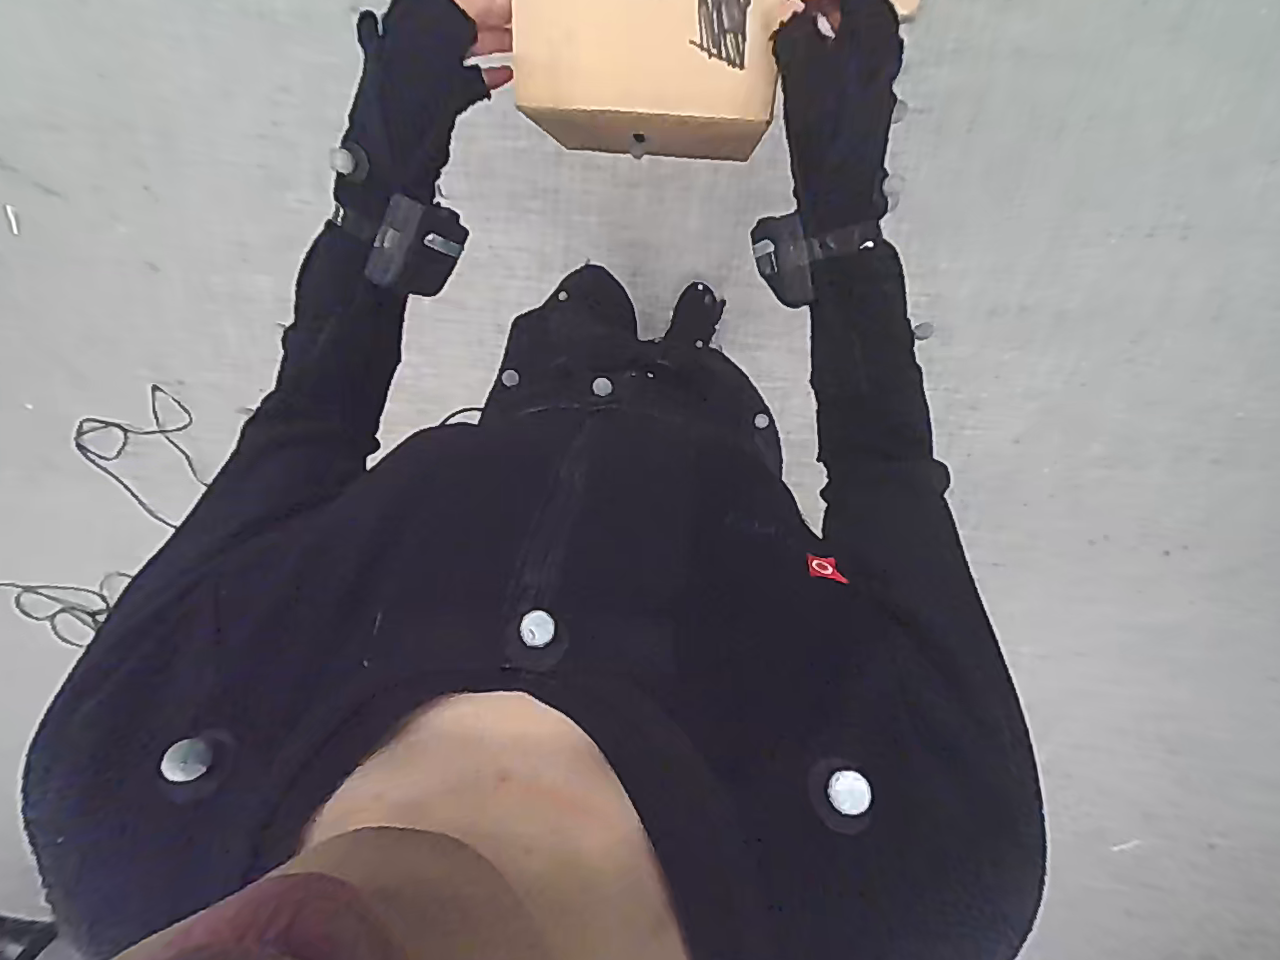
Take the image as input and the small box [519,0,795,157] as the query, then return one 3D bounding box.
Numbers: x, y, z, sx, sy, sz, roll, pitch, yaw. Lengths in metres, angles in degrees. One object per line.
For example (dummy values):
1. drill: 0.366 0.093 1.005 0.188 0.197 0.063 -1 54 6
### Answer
1. small box: 0.018 -0.350 0.403 0.179 0.176 0.168 6 113 4
